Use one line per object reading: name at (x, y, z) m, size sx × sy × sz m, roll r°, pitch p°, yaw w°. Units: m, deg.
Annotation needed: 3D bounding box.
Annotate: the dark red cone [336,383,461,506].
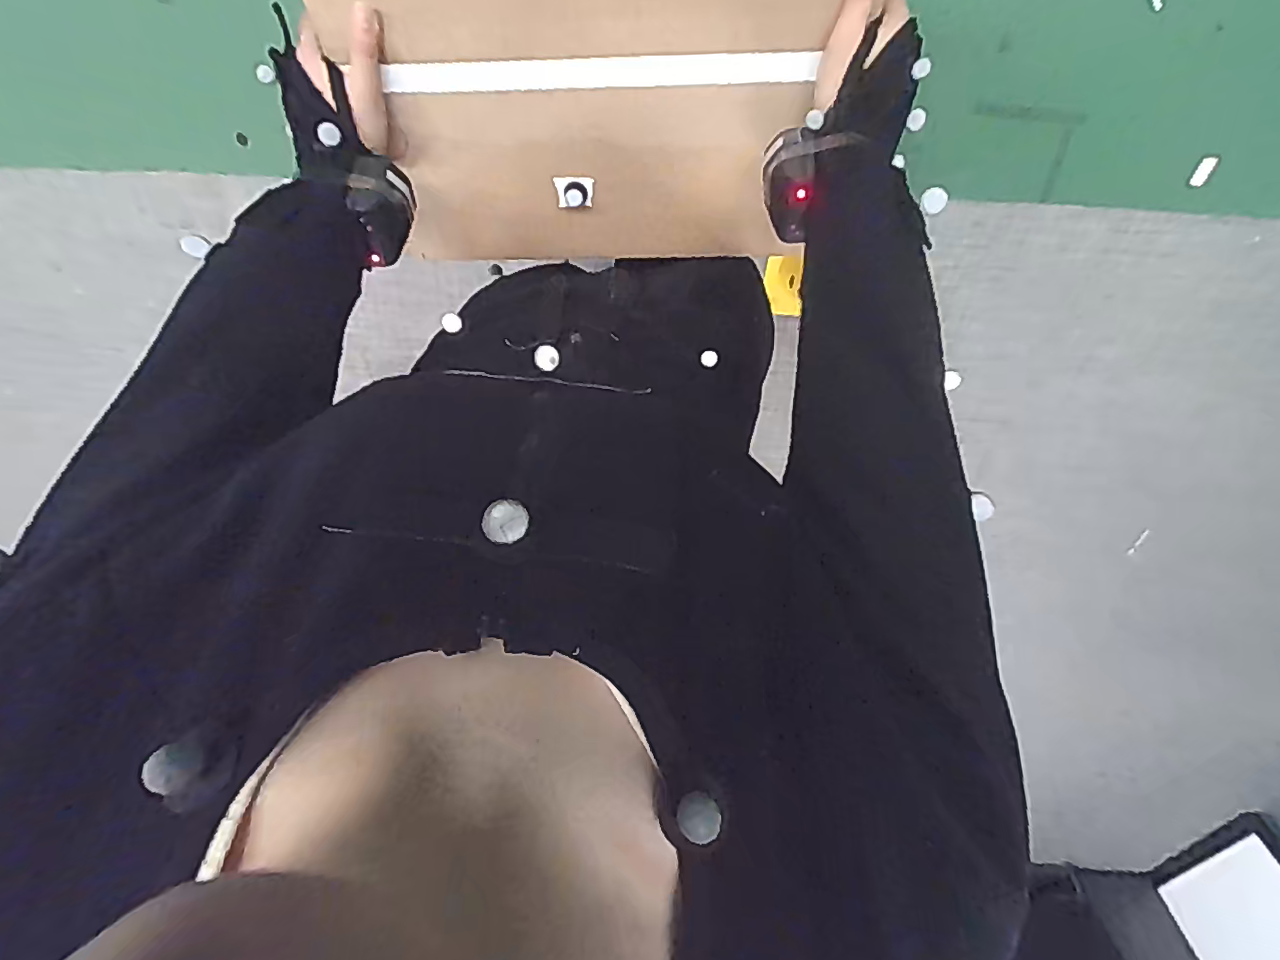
dark red cone at (-0.591, -0.067, 1.275) m, size 0.202 × 0.394 × 0.201 m, roll -2°, pitch 124°, yaw 7°
